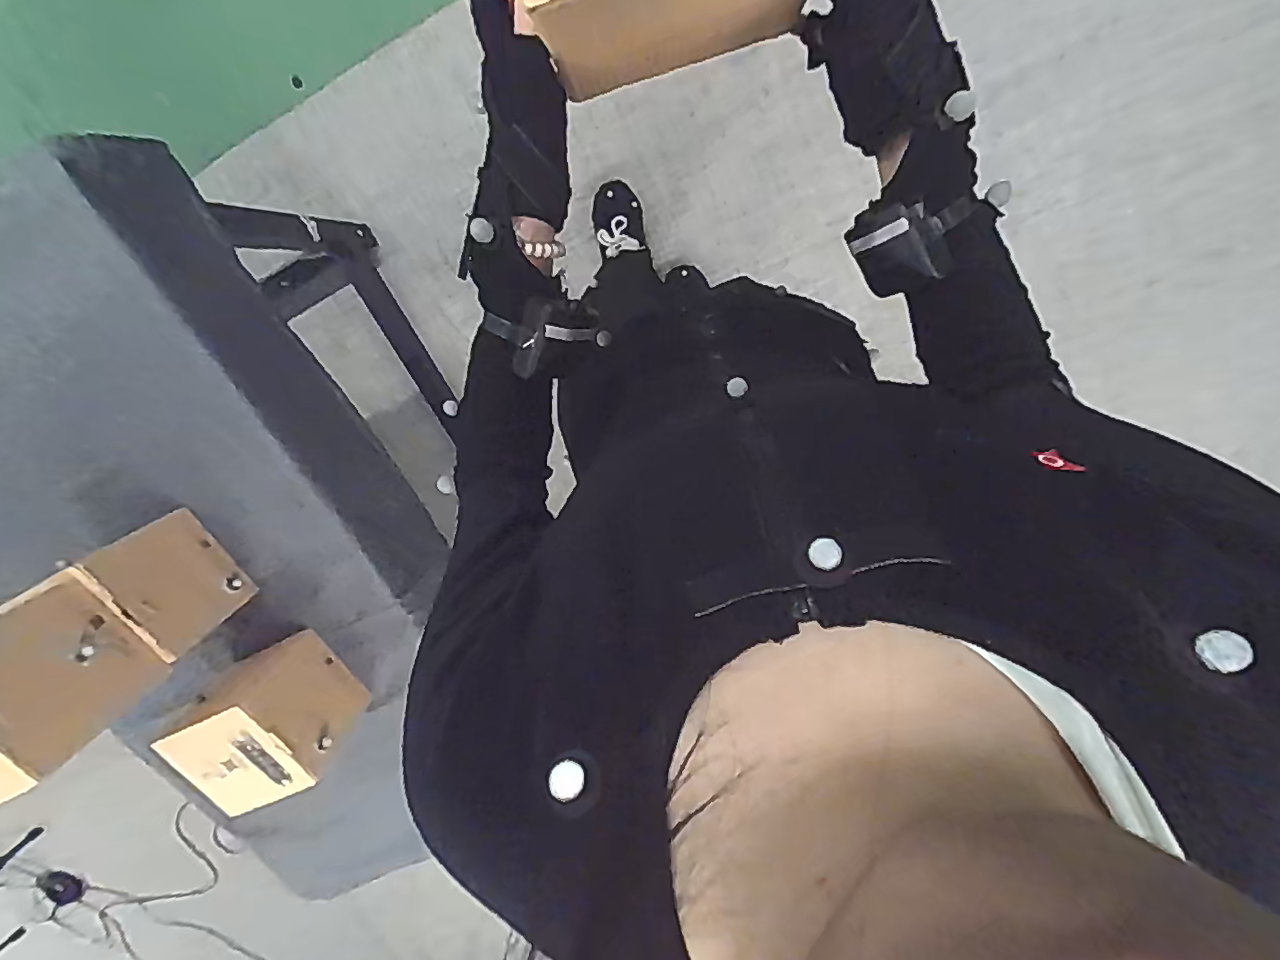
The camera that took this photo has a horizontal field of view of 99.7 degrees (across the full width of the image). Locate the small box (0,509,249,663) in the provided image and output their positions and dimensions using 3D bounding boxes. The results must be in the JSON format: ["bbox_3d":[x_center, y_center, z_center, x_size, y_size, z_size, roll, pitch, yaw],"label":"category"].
[{"bbox_3d":[-0.711,0.166,0.770,0.179,0.176,0.168,-25,109,12],"label":"small box"}]

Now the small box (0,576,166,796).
[{"bbox_3d":[-0.724,0.244,0.626,0.179,0.176,0.168,-27,109,12],"label":"small box"}]

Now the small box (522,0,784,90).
[{"bbox_3d":[0.001,-0.356,0.303,0.179,0.176,0.168,-14,111,6],"label":"small box"}]
